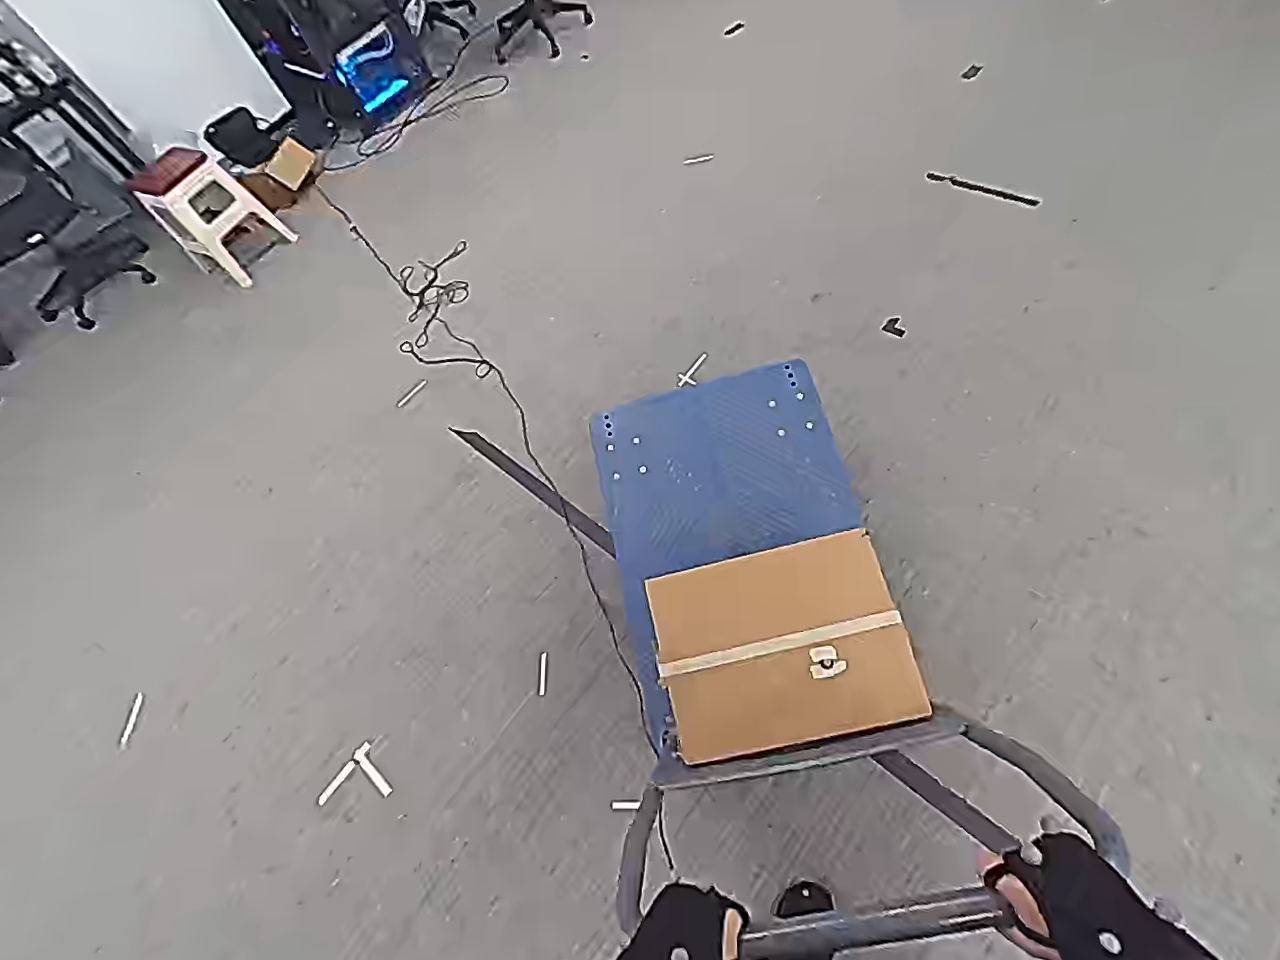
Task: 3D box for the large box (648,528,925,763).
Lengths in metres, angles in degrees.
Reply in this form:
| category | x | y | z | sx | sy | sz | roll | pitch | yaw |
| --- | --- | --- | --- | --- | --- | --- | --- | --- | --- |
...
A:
| category | x | y | z | sx | sy | sz | roll | pitch | yaw |
| --- | --- | --- | --- | --- | --- | --- | --- | --- | --- |
| large box | 0.261 | 0.322 | 1.073 | 0.408 | 0.320 | 0.320 | -15 | 73 | 5 |
